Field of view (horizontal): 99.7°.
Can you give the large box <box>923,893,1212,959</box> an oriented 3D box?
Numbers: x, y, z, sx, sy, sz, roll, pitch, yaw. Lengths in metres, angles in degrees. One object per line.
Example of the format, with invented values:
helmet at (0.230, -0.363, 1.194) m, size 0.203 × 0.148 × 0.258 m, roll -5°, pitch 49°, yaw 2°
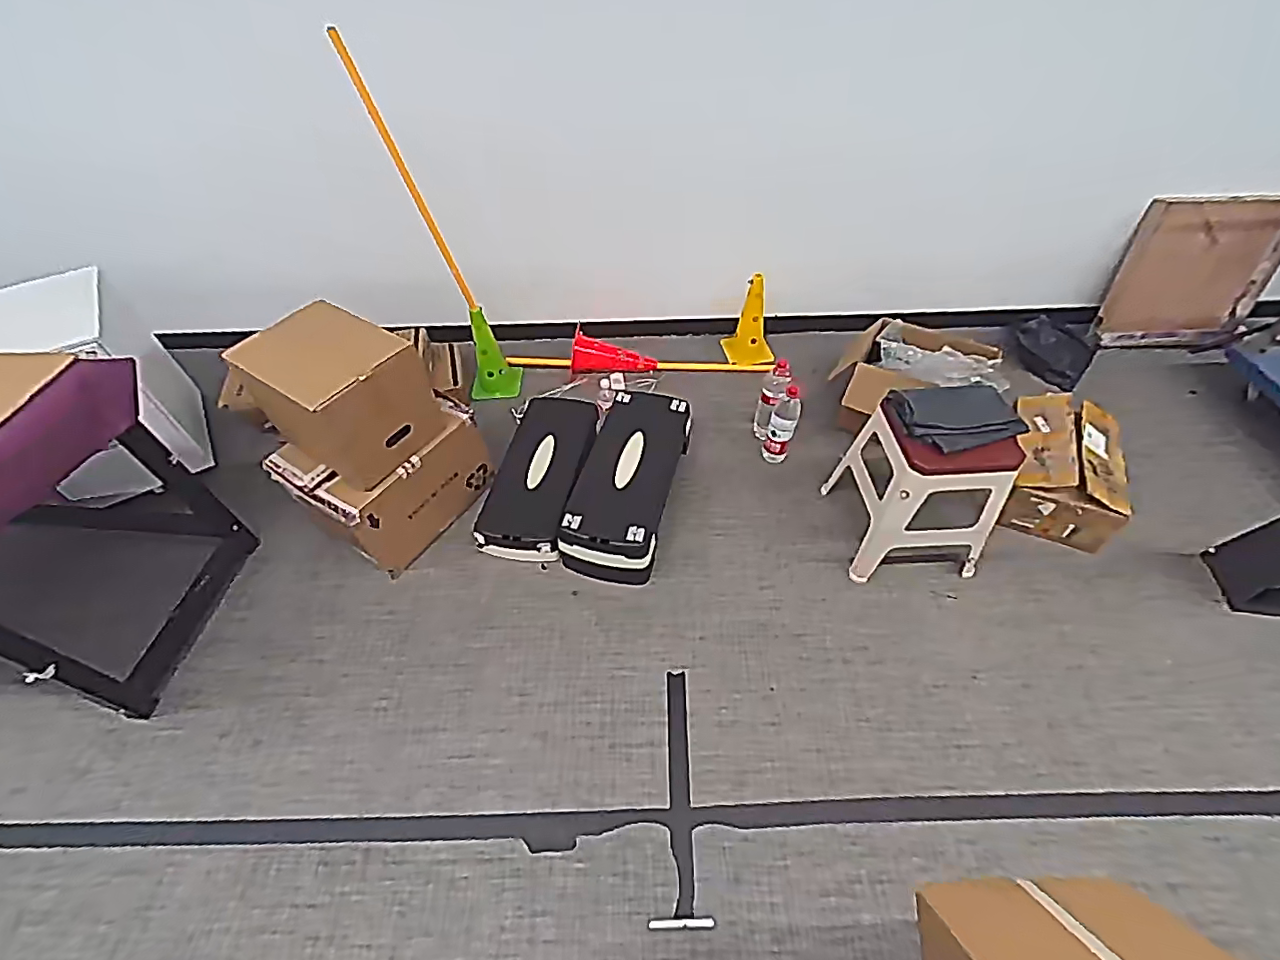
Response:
large box at (0.565, 0.738, 0.583) m, size 0.320 × 0.408 × 0.320 m, roll -2°, pitch 82°, yaw 1°
